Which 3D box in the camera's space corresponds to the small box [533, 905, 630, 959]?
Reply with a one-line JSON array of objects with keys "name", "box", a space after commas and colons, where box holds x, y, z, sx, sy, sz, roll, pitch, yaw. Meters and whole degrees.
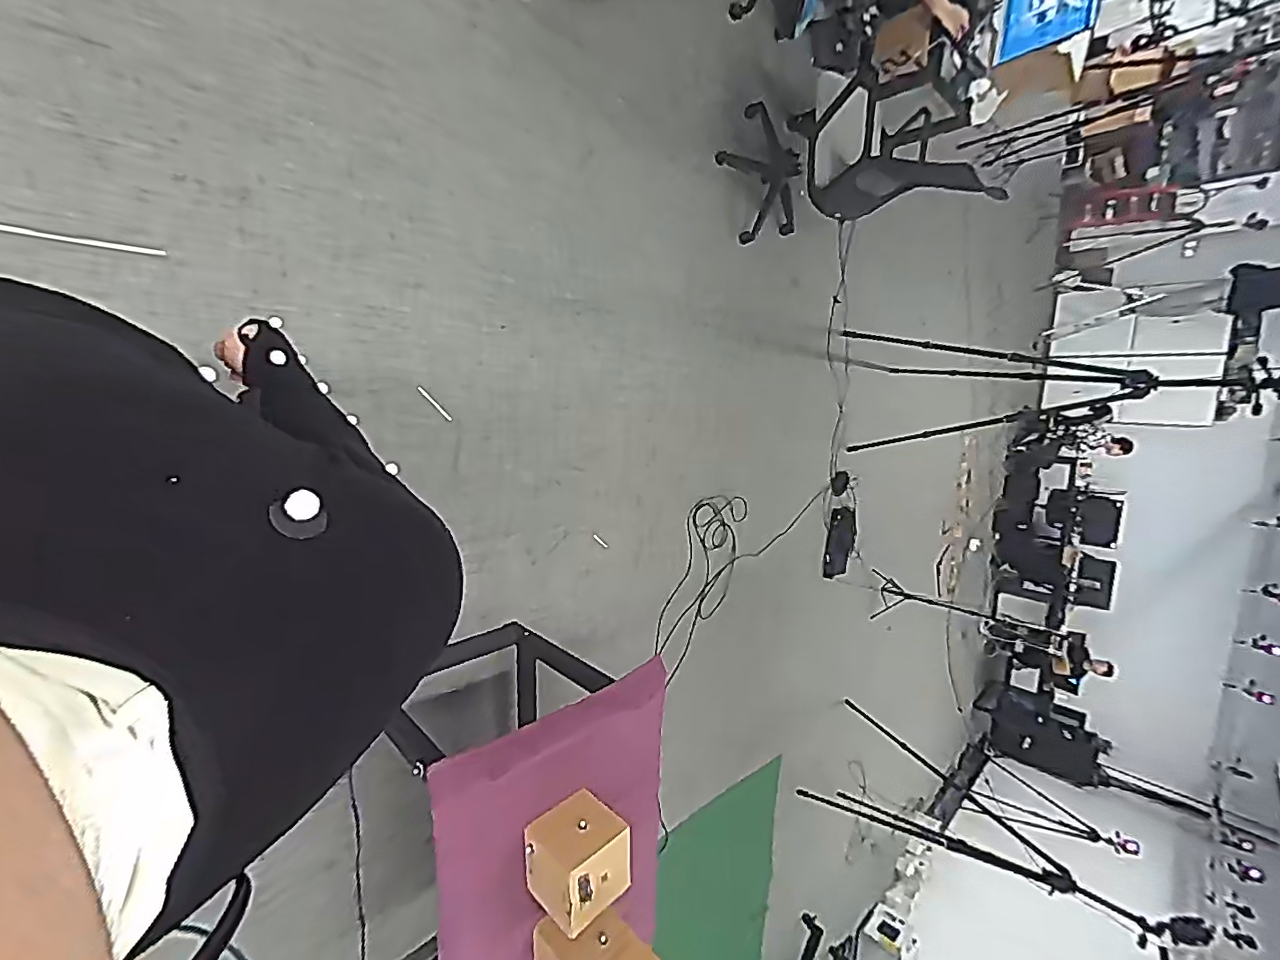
[{"name": "small box", "box": [-0.141, 1.130, 1.289, 0.168, 0.176, 0.179, -11, 105, -44]}]

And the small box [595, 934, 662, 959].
[{"name": "small box", "box": [-0.027, 1.148, 1.173, 0.168, 0.176, 0.179, -11, 105, -42]}]

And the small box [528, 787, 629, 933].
[{"name": "small box", "box": [-0.144, 0.853, 1.234, 0.179, 0.176, 0.168, -11, 106, -44]}]
